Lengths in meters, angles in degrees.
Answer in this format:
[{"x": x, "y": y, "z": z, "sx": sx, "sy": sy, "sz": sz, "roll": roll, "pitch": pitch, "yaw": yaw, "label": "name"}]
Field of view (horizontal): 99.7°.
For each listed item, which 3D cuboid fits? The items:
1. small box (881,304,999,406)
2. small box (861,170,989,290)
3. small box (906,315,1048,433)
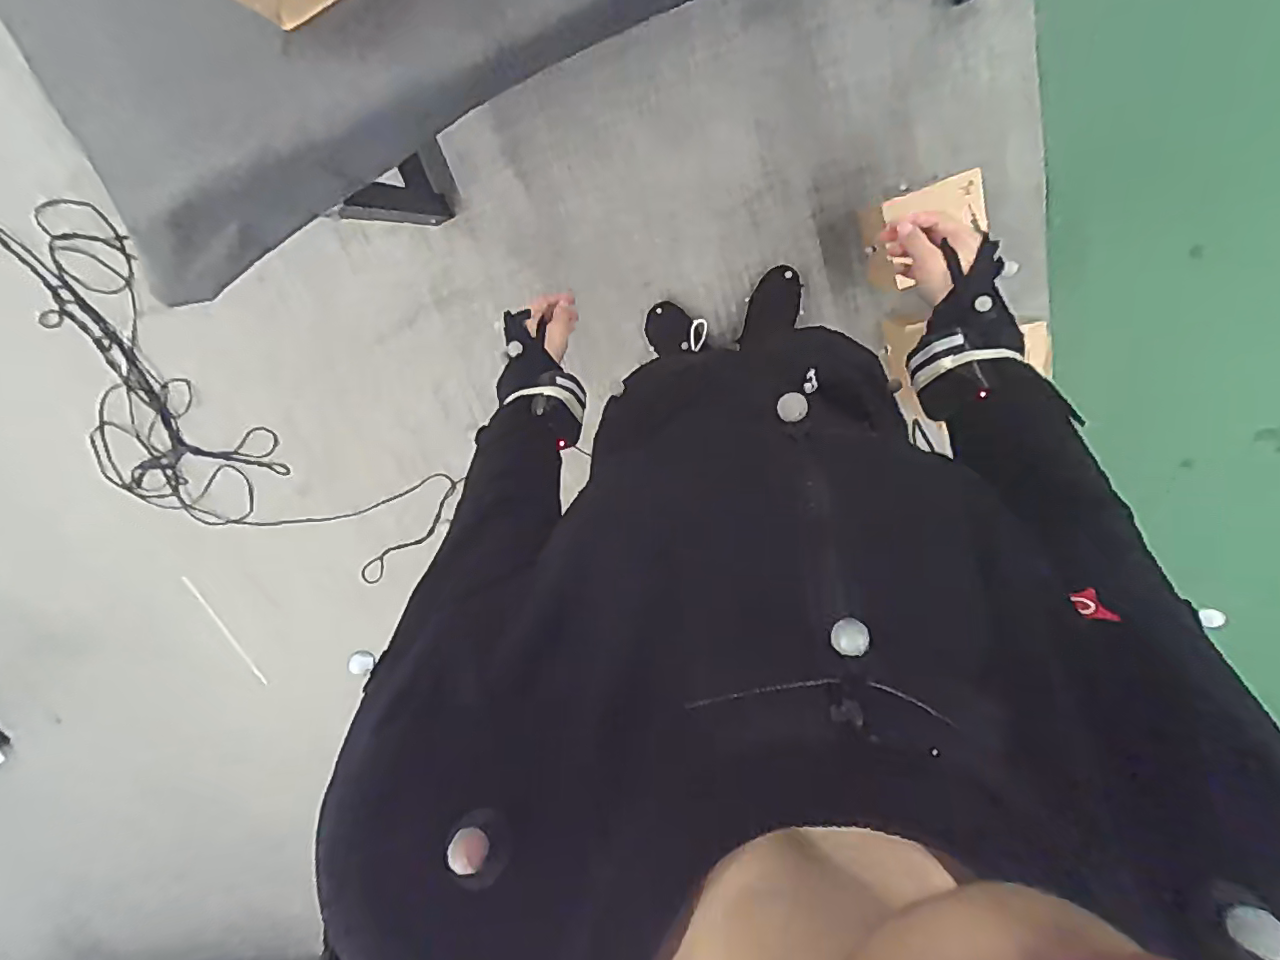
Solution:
[{"x": 0.643, "y": -0.275, "z": 1.170, "sx": 0.179, "sy": 0.176, "sz": 0.168, "roll": -11, "pitch": 110, "yaw": 12, "label": "small box"}, {"x": 0.561, "y": -0.490, "z": 1.087, "sx": 0.179, "sy": 0.176, "sz": 0.168, "roll": -17, "pitch": 108, "yaw": 12, "label": "small box"}, {"x": 0.628, "y": -0.205, "z": 1.021, "sx": 0.179, "sy": 0.176, "sz": 0.168, "roll": -12, "pitch": 110, "yaw": 11, "label": "small box"}]
